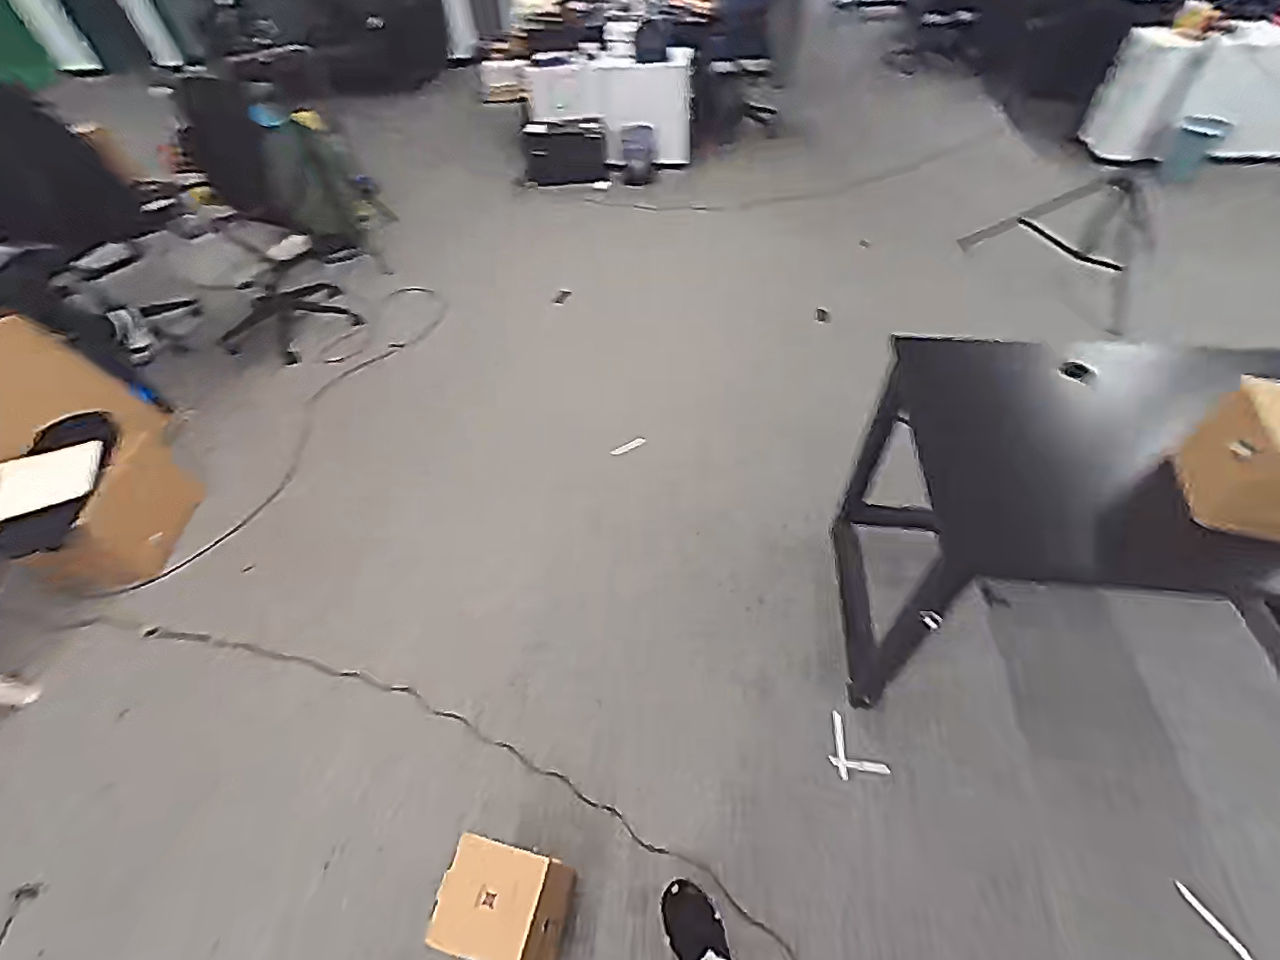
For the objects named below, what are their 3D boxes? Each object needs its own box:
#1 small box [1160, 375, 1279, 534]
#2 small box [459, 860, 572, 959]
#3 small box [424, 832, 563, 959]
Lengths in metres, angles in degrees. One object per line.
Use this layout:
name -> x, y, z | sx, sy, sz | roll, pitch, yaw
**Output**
small box -> 0.982, -0.035, 0.848 | 0.168, 0.176, 0.179 | 12, 51, 14
small box -> -0.246, 0.888, 1.124 | 0.168, 0.176, 0.179 | 4, 51, 8
small box -> -0.259, 0.779, 1.002 | 0.179, 0.176, 0.168 | 9, 52, 10
